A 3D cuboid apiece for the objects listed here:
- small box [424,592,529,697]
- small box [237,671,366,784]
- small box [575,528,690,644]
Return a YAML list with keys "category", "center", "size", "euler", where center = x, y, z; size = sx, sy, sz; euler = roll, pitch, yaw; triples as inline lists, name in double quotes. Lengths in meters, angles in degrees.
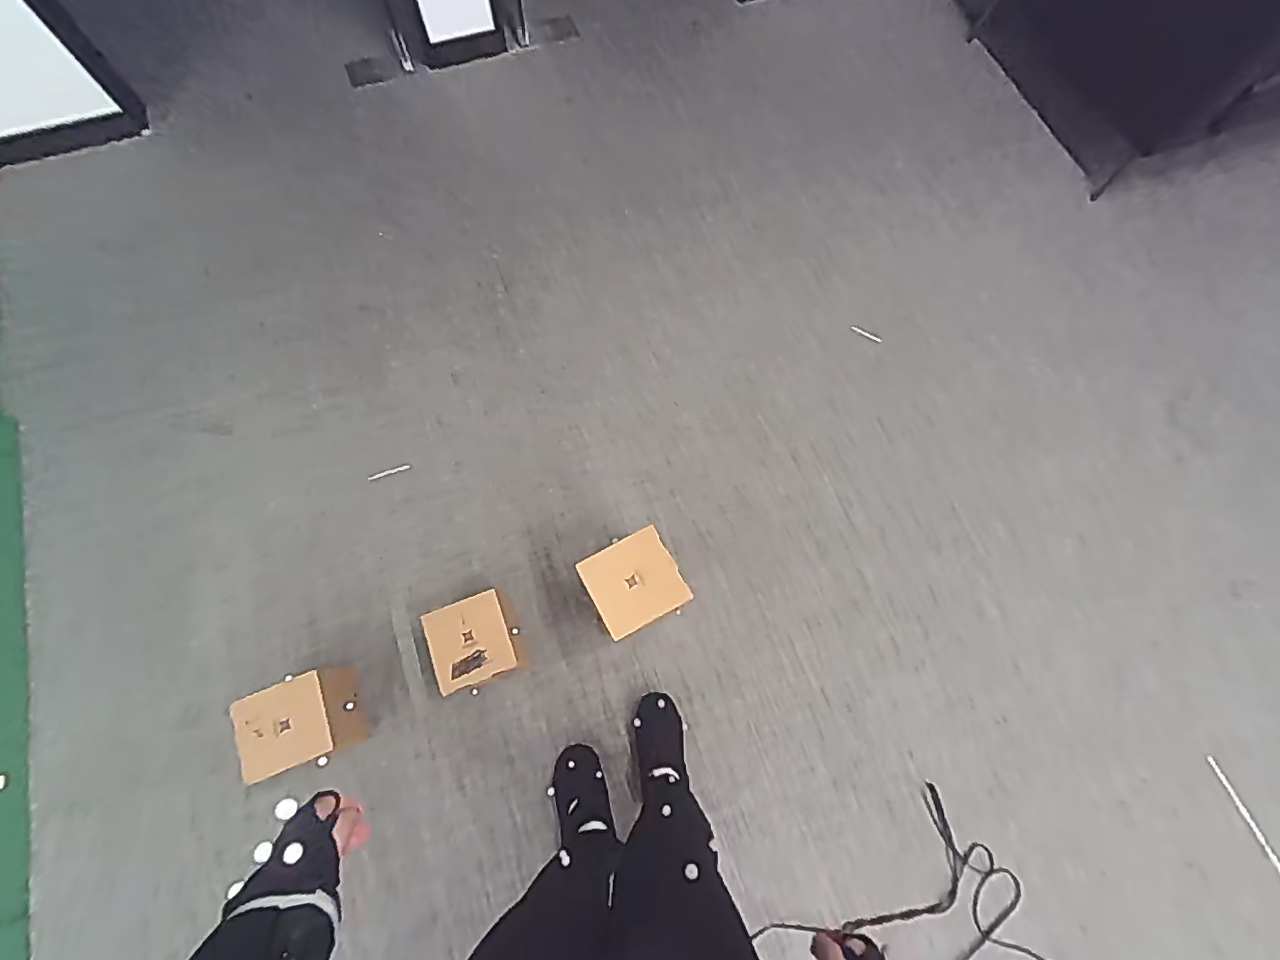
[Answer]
- category: "small box"
  center: [-0.364, 0.372, 1.231]
  size: [0.168, 0.176, 0.179]
  euler: [-20, 72, -8]
- category: "small box"
  center: [-0.718, 0.523, 1.169]
  size: [0.179, 0.176, 0.168]
  euler: [-21, 72, -9]
- category: "small box"
  center: [-0.017, 0.227, 1.120]
  size: [0.179, 0.176, 0.168]
  euler: [-27, 75, -11]
